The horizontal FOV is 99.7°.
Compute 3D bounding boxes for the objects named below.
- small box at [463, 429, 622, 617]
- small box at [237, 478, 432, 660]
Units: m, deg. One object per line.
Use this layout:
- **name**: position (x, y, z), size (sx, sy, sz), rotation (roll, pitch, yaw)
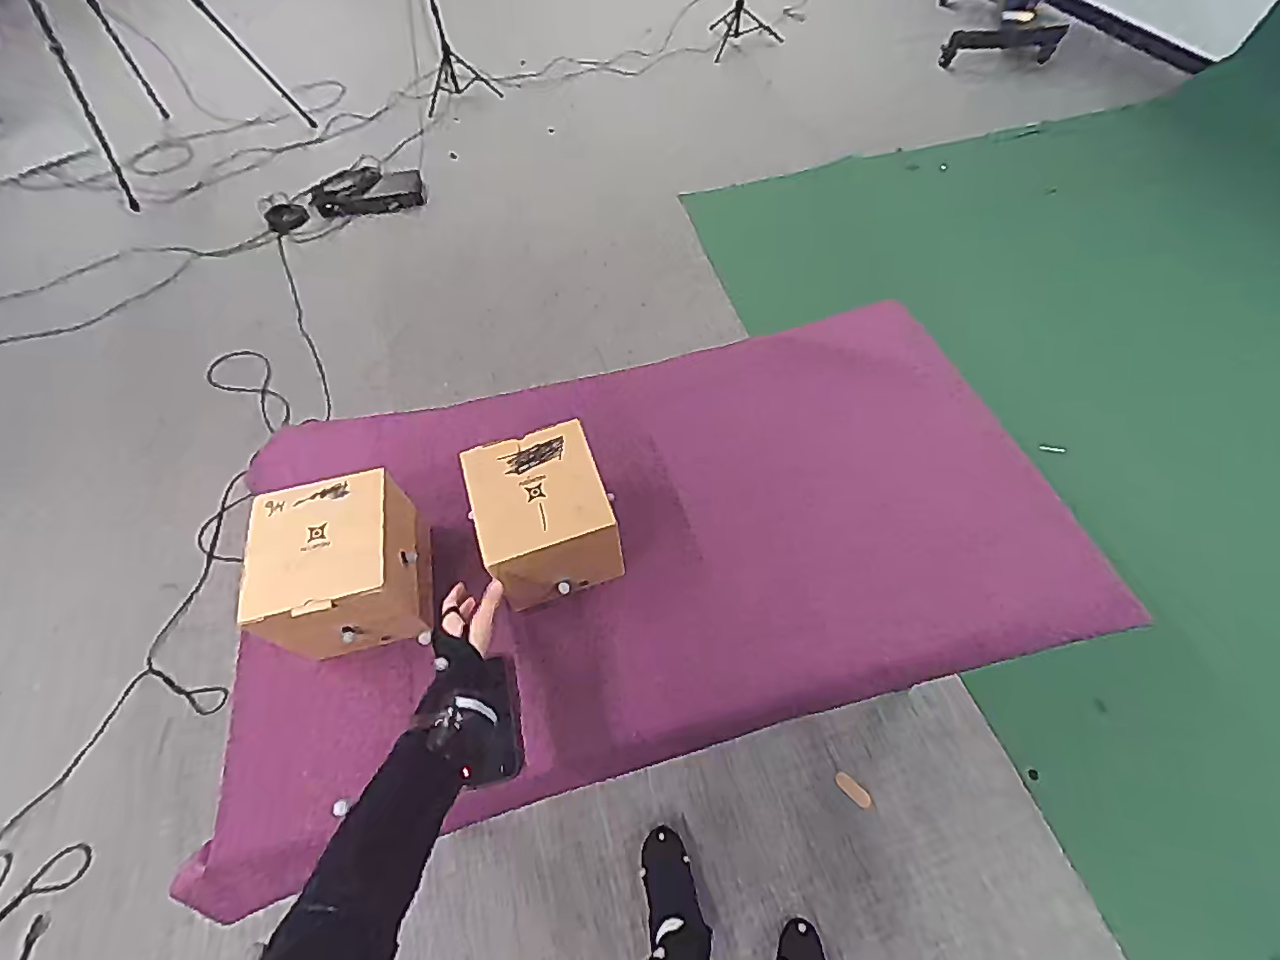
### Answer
- **small box**: position (-0.130, 0.063, 0.752), size (0.168, 0.176, 0.179), rotation (-18, 58, -8)
- **small box**: position (-0.389, 0.127, 0.723), size (0.168, 0.176, 0.179), rotation (-13, 58, -6)
